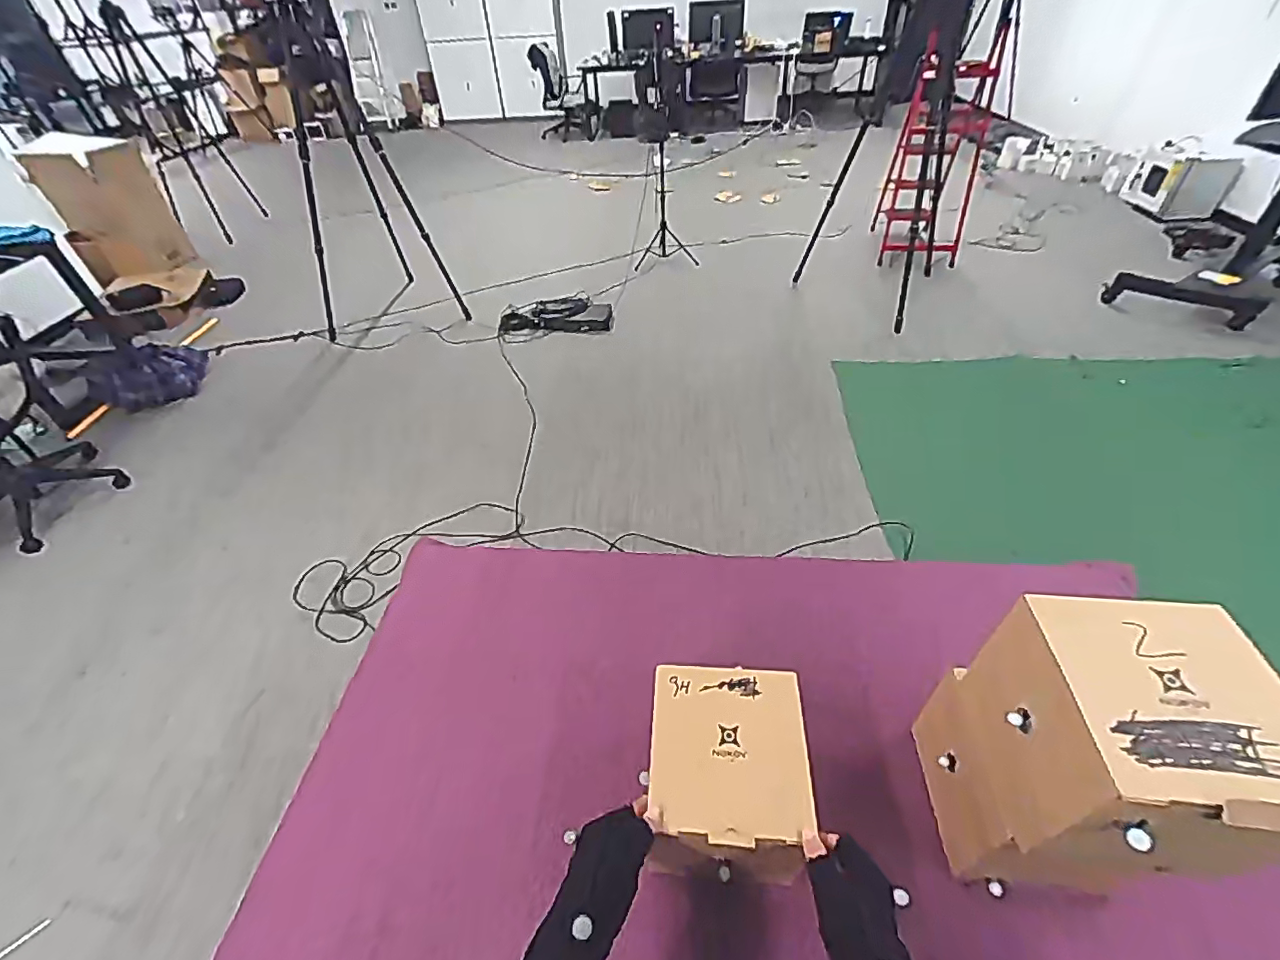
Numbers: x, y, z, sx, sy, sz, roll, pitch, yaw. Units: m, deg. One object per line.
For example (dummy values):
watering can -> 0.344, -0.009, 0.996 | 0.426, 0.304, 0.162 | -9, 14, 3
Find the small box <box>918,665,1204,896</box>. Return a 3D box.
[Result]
small box -> 0.436, 0.335, 0.602 | 0.168, 0.176, 0.179 | 5, 45, 7

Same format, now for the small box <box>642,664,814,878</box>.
small box -> 0.094, 0.338, 0.625 | 0.168, 0.176, 0.179 | 2, 45, 5
